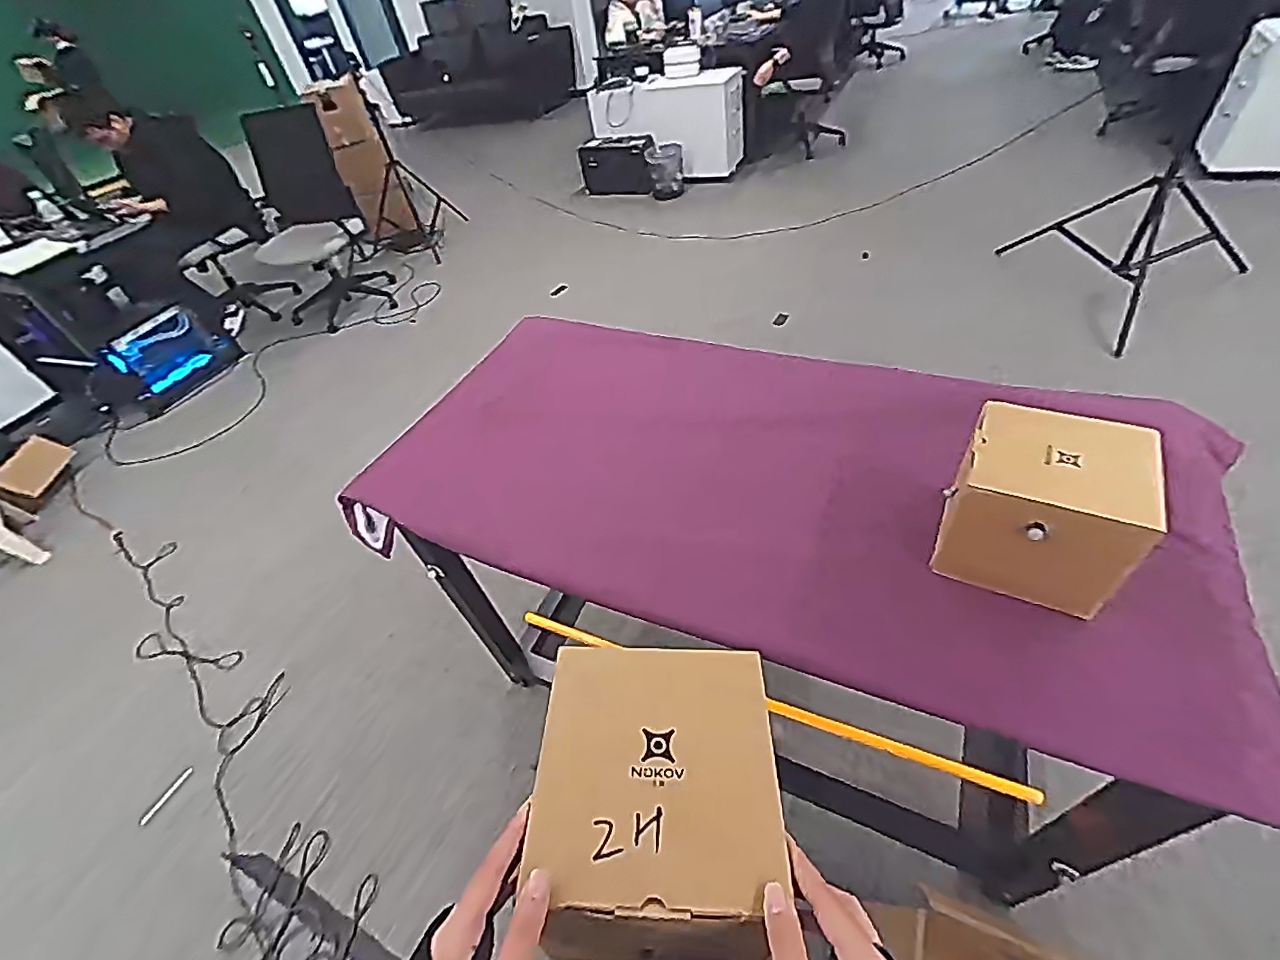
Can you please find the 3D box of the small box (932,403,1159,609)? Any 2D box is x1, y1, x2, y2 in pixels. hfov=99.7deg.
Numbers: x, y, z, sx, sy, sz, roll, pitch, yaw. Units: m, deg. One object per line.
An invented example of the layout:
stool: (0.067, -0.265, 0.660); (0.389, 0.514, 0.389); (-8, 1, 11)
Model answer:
small box: (0.486, 0.033, 0.667); (0.179, 0.176, 0.168); (17, 50, 27)

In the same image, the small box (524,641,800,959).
small box: (0.017, 0.253, 0.429); (0.168, 0.176, 0.179); (1, 40, 3)
